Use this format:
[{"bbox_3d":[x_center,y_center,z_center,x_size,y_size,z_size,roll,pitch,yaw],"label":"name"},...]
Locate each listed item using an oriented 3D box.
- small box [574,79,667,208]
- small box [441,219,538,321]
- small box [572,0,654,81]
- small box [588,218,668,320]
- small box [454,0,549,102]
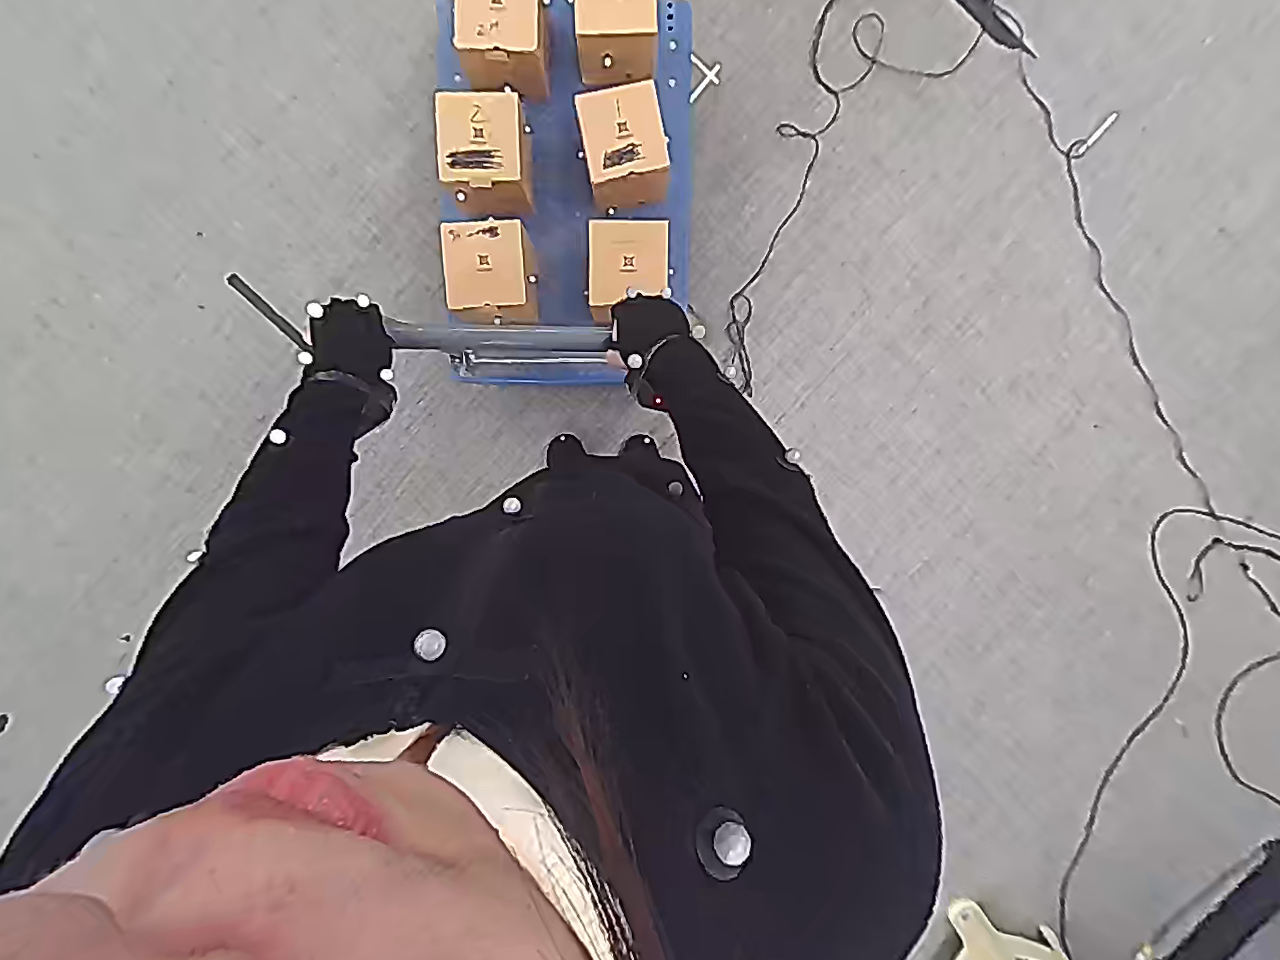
[{"bbox_3d":[-0.039,-0.715,1.176,0.168,0.176,0.179,-12,95,-1],"label":"small box"},{"bbox_3d":[-0.324,-0.452,1.192,0.168,0.176,0.179,-4,96,-2],"label":"small box"},{"bbox_3d":[-0.055,-0.986,1.151,0.168,0.176,0.179,-3,95,-1],"label":"small box"},{"bbox_3d":[-0.026,-0.458,1.201,0.168,0.176,0.179,0,95,-2],"label":"small box"},{"bbox_3d":[-0.287,-0.948,1.145,0.168,0.176,0.179,2,96,-2],"label":"small box"}]
